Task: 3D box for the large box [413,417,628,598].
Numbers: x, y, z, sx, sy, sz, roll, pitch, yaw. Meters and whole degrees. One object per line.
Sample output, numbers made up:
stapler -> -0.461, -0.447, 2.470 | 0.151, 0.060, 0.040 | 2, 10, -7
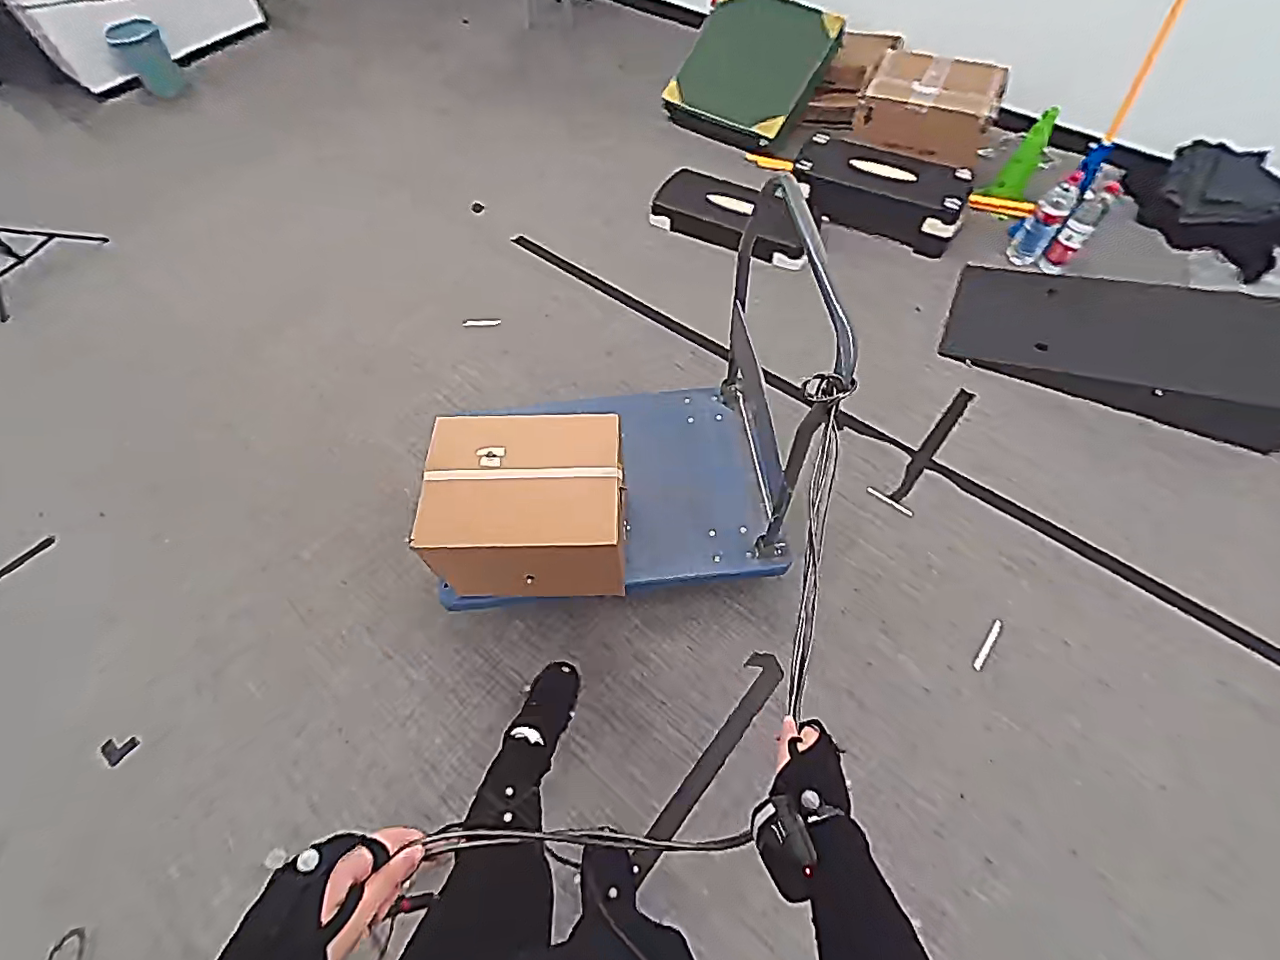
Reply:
large box -> -0.235, 0.075, 1.233 | 0.408, 0.320, 0.320 | -1, 59, 1
